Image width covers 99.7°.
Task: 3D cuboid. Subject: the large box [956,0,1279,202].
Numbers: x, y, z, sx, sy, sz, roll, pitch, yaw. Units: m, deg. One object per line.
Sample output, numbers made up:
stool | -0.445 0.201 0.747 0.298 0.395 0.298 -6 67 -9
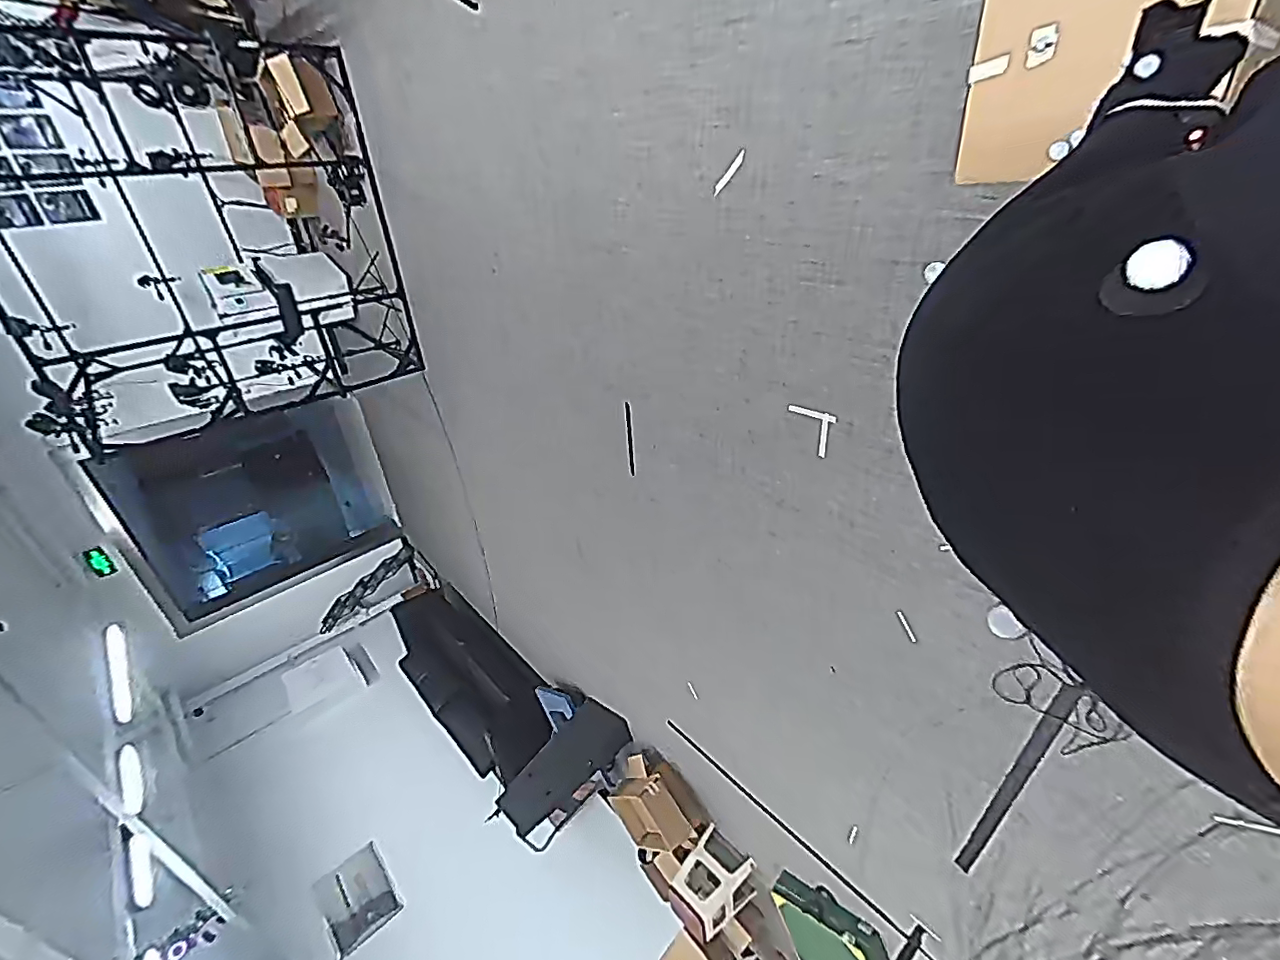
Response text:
large box | 0.772 -0.656 0.879 0.320 0.408 0.320 24 132 41
